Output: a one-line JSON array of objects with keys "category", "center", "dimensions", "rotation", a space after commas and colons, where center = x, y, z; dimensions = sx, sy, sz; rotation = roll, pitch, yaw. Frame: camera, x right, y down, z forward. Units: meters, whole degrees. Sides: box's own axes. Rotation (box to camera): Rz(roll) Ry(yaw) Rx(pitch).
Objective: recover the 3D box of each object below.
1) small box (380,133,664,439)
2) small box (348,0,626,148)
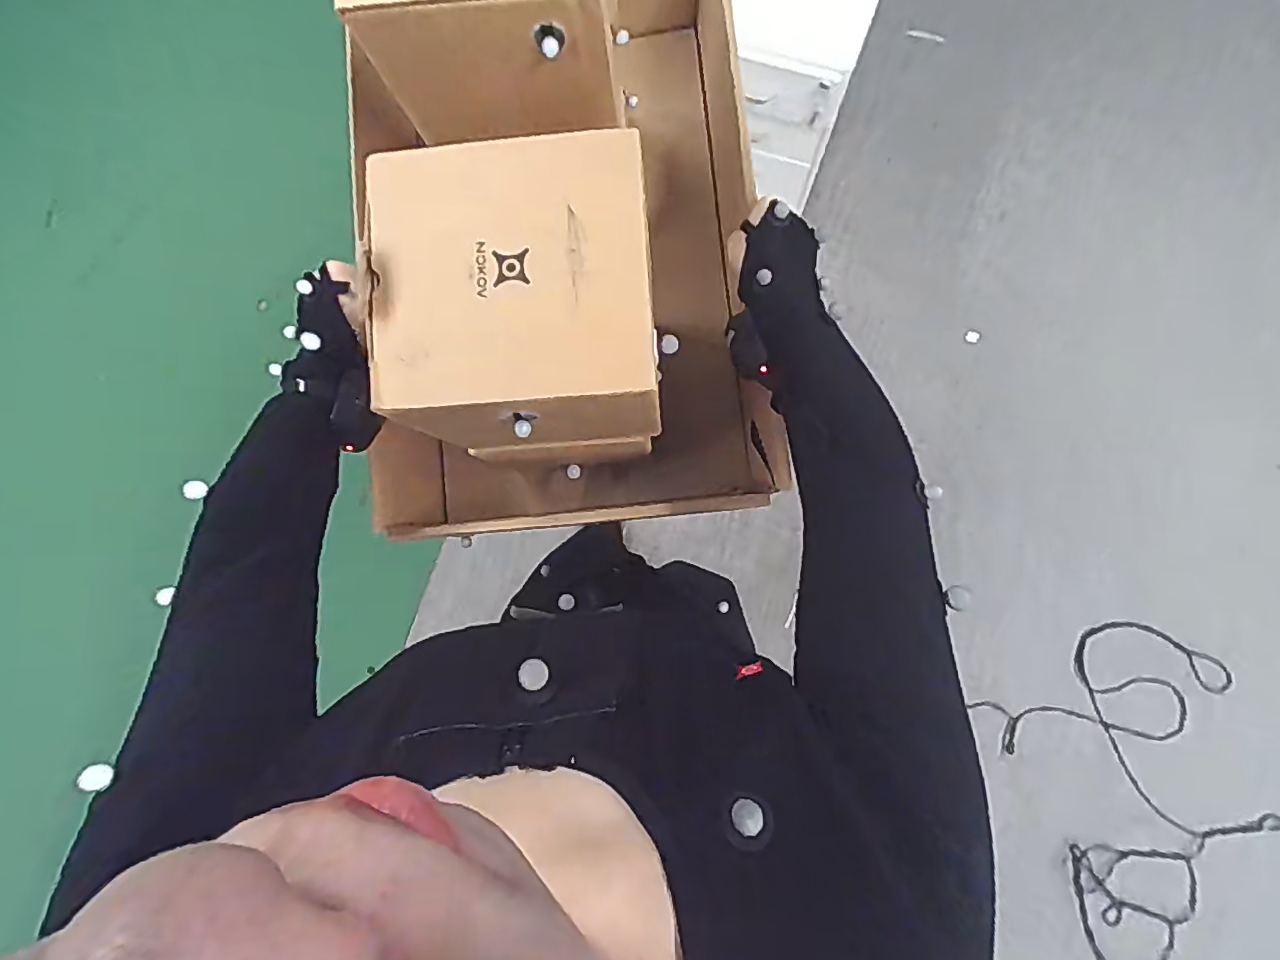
[{"category": "small box", "center": [-0.073, -0.127, 0.417], "dimensions": [0.179, 0.176, 0.168], "rotation": [-3, 87, 2]}, {"category": "small box", "center": [-0.105, -0.385, 0.436], "dimensions": [0.179, 0.176, 0.168], "rotation": [-3, 87, 1]}]
